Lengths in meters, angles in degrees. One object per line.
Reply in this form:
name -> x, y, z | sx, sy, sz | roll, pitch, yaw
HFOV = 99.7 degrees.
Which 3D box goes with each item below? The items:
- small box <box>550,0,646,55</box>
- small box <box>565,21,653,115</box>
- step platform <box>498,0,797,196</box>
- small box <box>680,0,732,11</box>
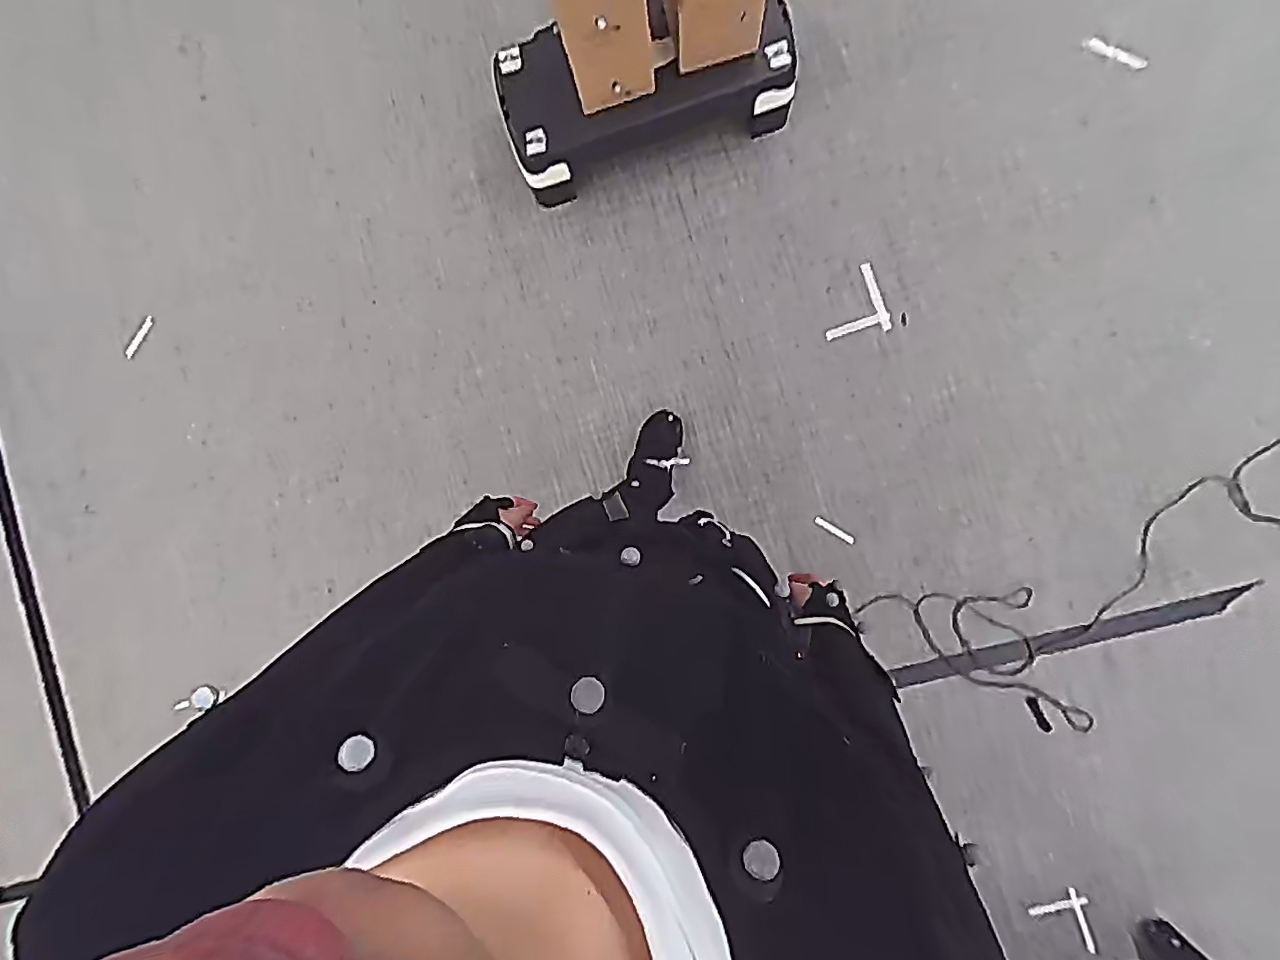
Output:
small box -> -0.091, -0.918, 0.958 | 0.168, 0.176, 0.179 | -16, 88, 4
small box -> -0.074, -0.913, 1.121 | 0.168, 0.176, 0.179 | -15, 88, 5
step platform -> 0.015, -0.951, 1.289 | 0.684, 0.204, 0.286 | -17, 87, 5
small box -> 0.139, -0.978, 0.942 | 0.179, 0.176, 0.168 | -14, 88, 4
